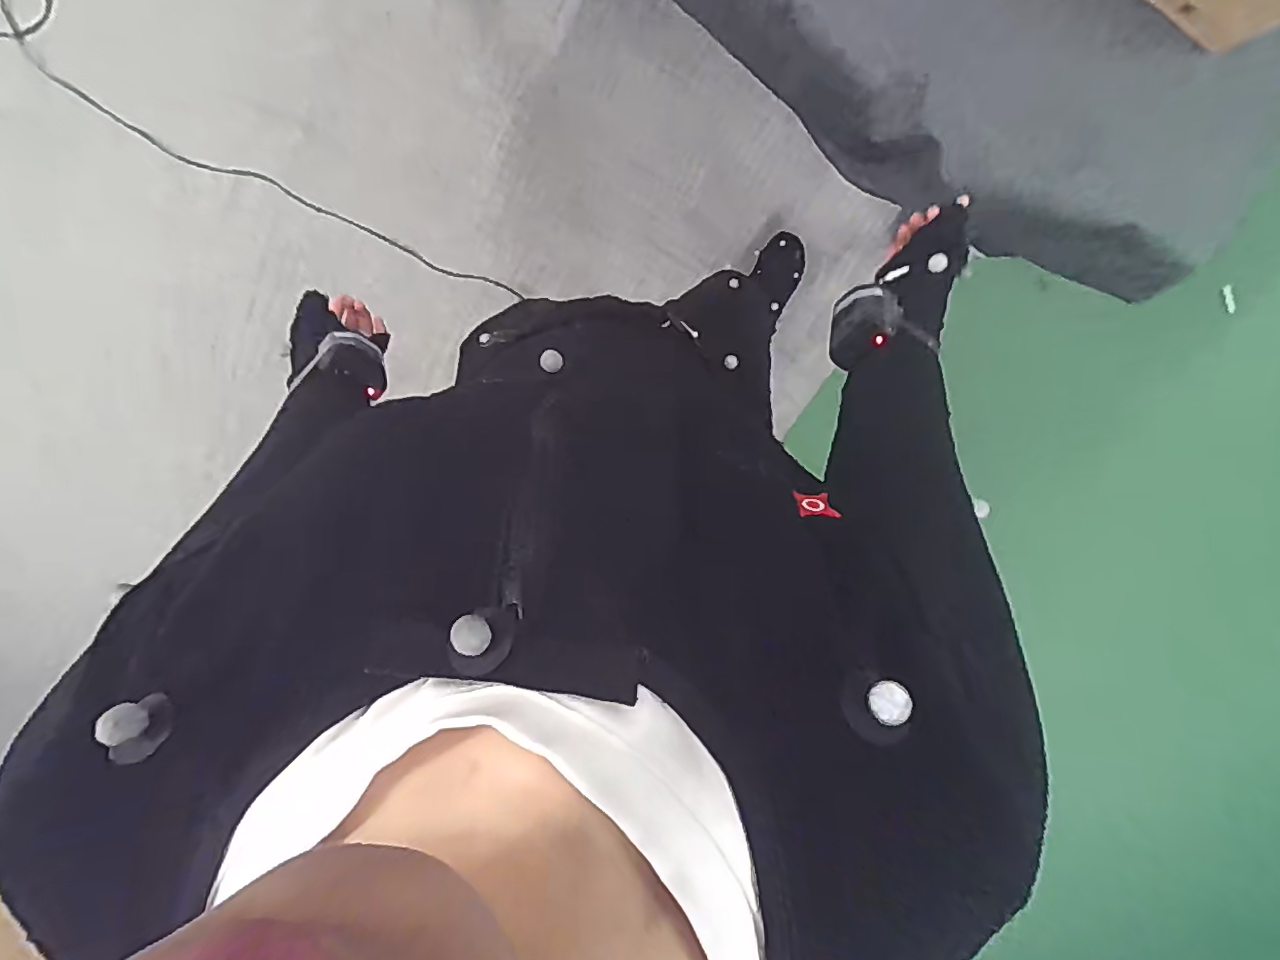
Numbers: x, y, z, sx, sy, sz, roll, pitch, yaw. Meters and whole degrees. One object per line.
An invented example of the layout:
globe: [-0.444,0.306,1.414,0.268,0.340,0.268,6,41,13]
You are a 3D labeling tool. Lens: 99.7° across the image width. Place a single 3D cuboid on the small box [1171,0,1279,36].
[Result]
small box: [0.528,-0.499,0.413,0.168,0.176,0.179,28,111,-9]
